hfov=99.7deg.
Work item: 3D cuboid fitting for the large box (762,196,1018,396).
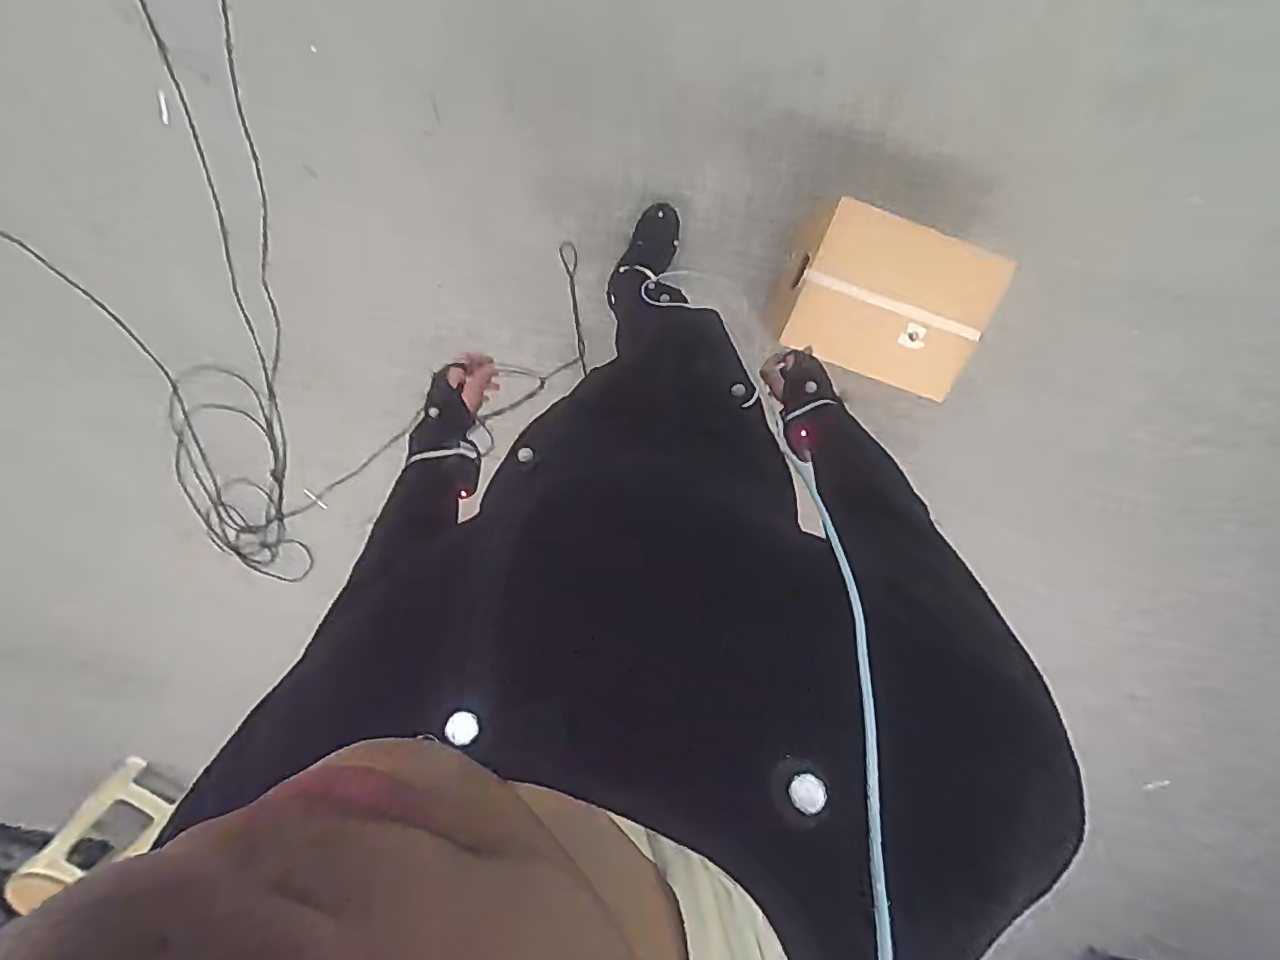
[{"bbox_3d":[0.550,-0.435,1.288,0.408,0.320,0.320,19,113,-4],"label":"large box"}]
